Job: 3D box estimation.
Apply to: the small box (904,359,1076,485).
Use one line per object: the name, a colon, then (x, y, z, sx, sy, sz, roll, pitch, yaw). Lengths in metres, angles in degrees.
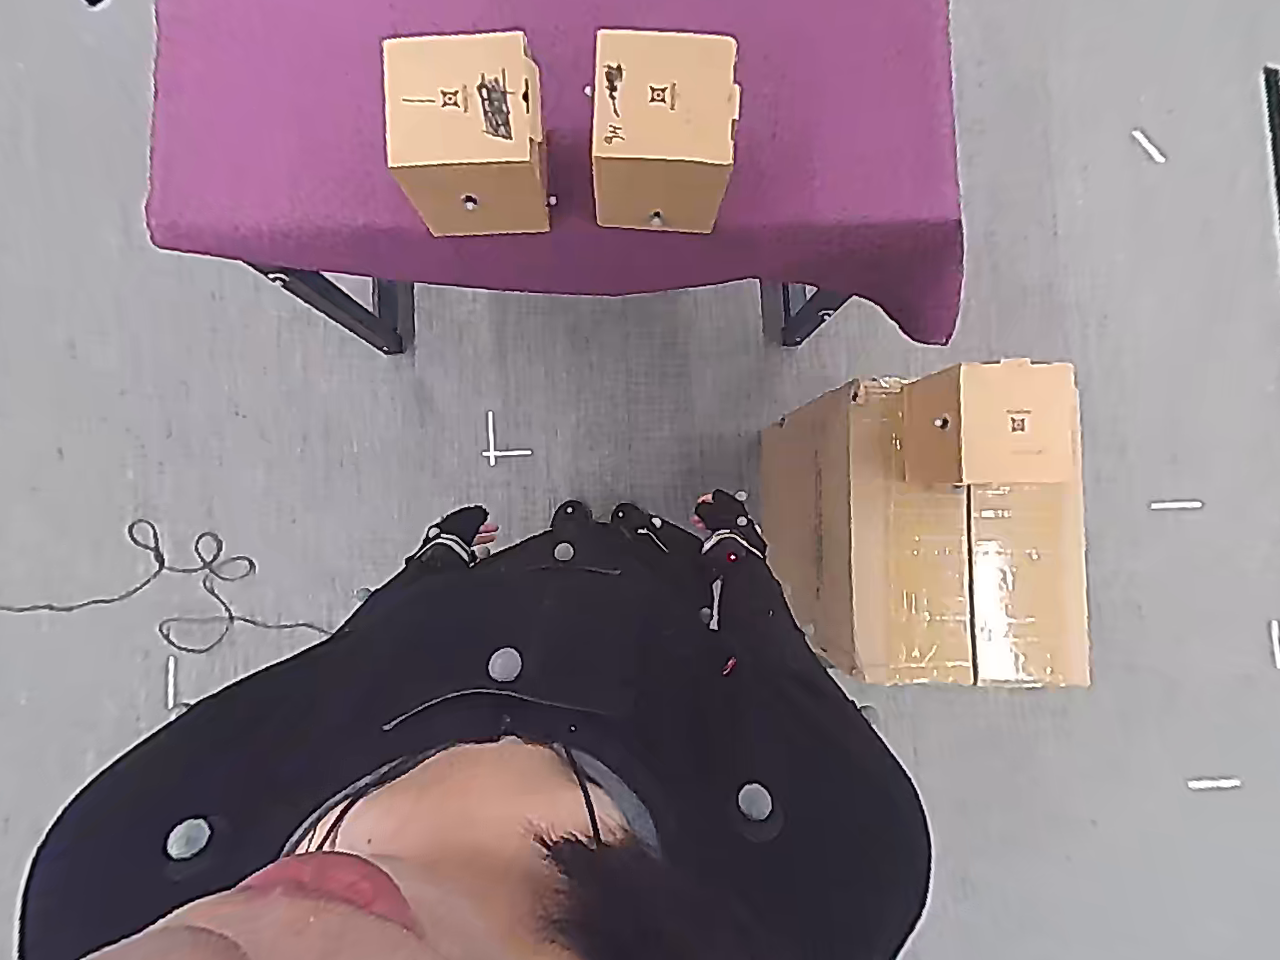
small box: (0.535, -0.082, 0.848, 0.168, 0.176, 0.179, -1, 88, 0)

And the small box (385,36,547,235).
small box: (-0.224, -0.455, 0.737, 0.179, 0.176, 0.168, -3, 86, -1)

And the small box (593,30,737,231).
small box: (0.027, -0.467, 0.749, 0.179, 0.176, 0.168, 2, 86, -3)
